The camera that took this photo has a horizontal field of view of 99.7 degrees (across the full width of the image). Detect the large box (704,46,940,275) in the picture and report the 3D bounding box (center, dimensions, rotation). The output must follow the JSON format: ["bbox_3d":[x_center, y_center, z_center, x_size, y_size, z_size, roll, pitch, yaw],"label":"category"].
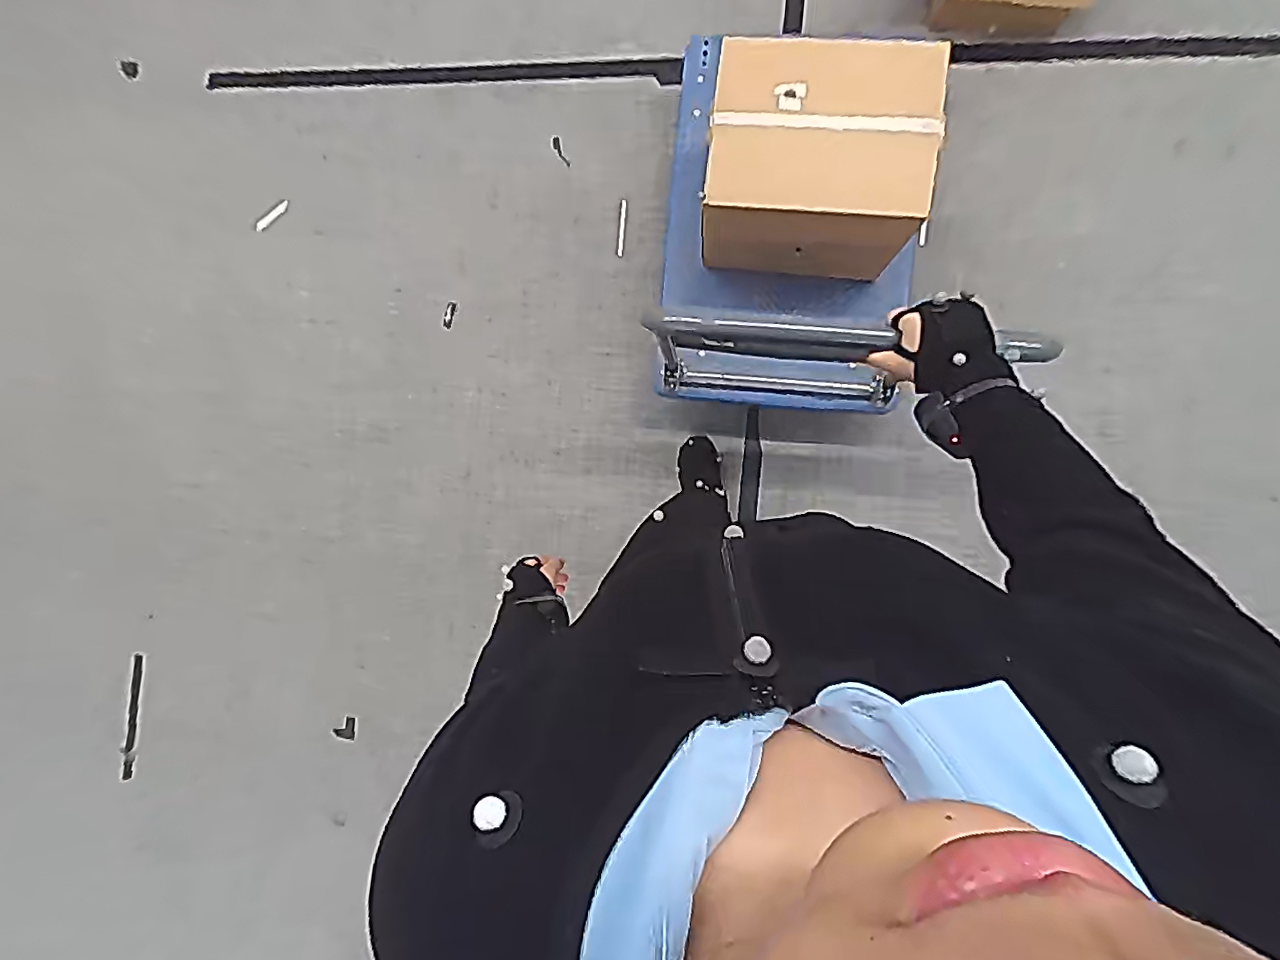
[{"bbox_3d":[0.354,-0.647,1.147,0.408,0.320,0.320,6,90,8],"label":"large box"}]
